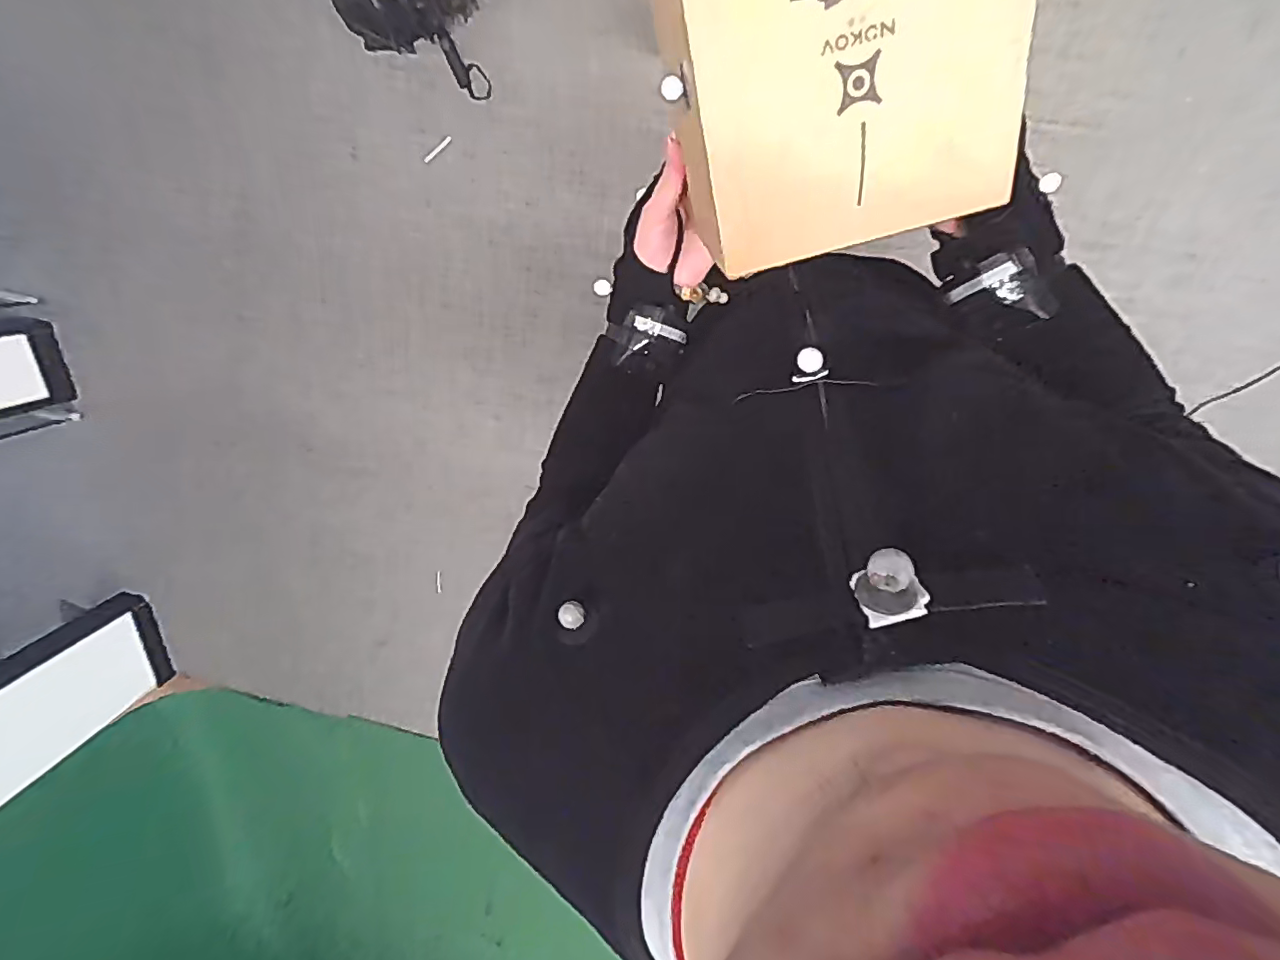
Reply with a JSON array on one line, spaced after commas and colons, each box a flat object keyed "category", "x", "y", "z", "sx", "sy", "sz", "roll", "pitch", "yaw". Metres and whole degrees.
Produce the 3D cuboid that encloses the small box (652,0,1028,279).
[{"category": "small box", "x": 0.107, "y": -0.252, "z": 0.342, "sx": 0.168, "sy": 0.176, "sz": 0.179, "roll": -13, "pitch": 124, "yaw": 6}]
